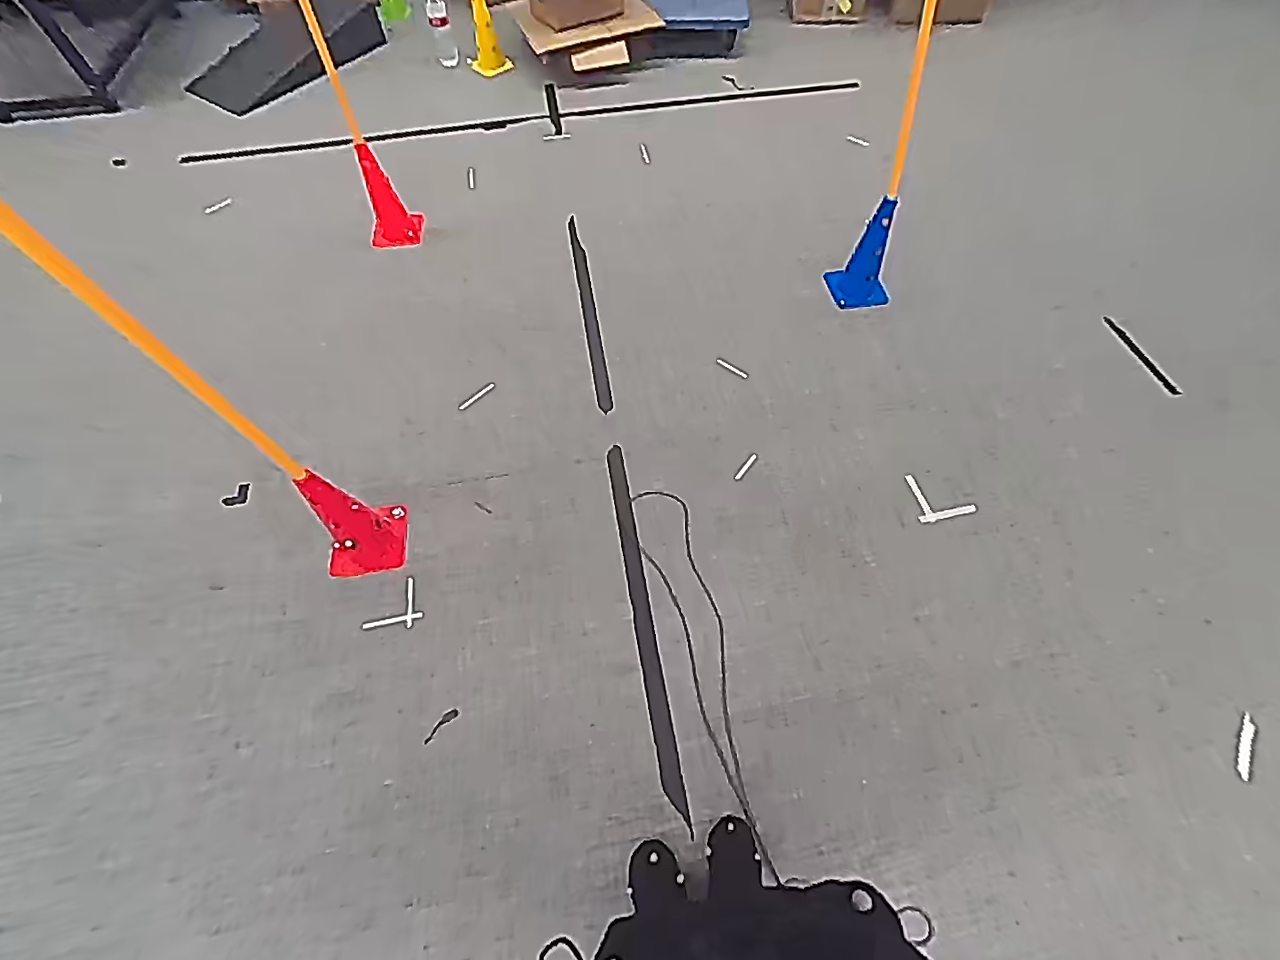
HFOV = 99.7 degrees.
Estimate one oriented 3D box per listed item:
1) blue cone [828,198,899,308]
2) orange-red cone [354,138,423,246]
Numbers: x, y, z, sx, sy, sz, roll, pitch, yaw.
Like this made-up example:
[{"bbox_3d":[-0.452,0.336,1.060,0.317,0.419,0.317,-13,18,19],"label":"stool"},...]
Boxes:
[{"bbox_3d":[0.810,-0.802,1.884,0.193,0.380,0.192,-6,60,-3],"label":"blue cone"},{"bbox_3d":[-0.999,-1.118,2.074,0.198,0.360,0.199,-6,59,-3],"label":"orange-red cone"}]
